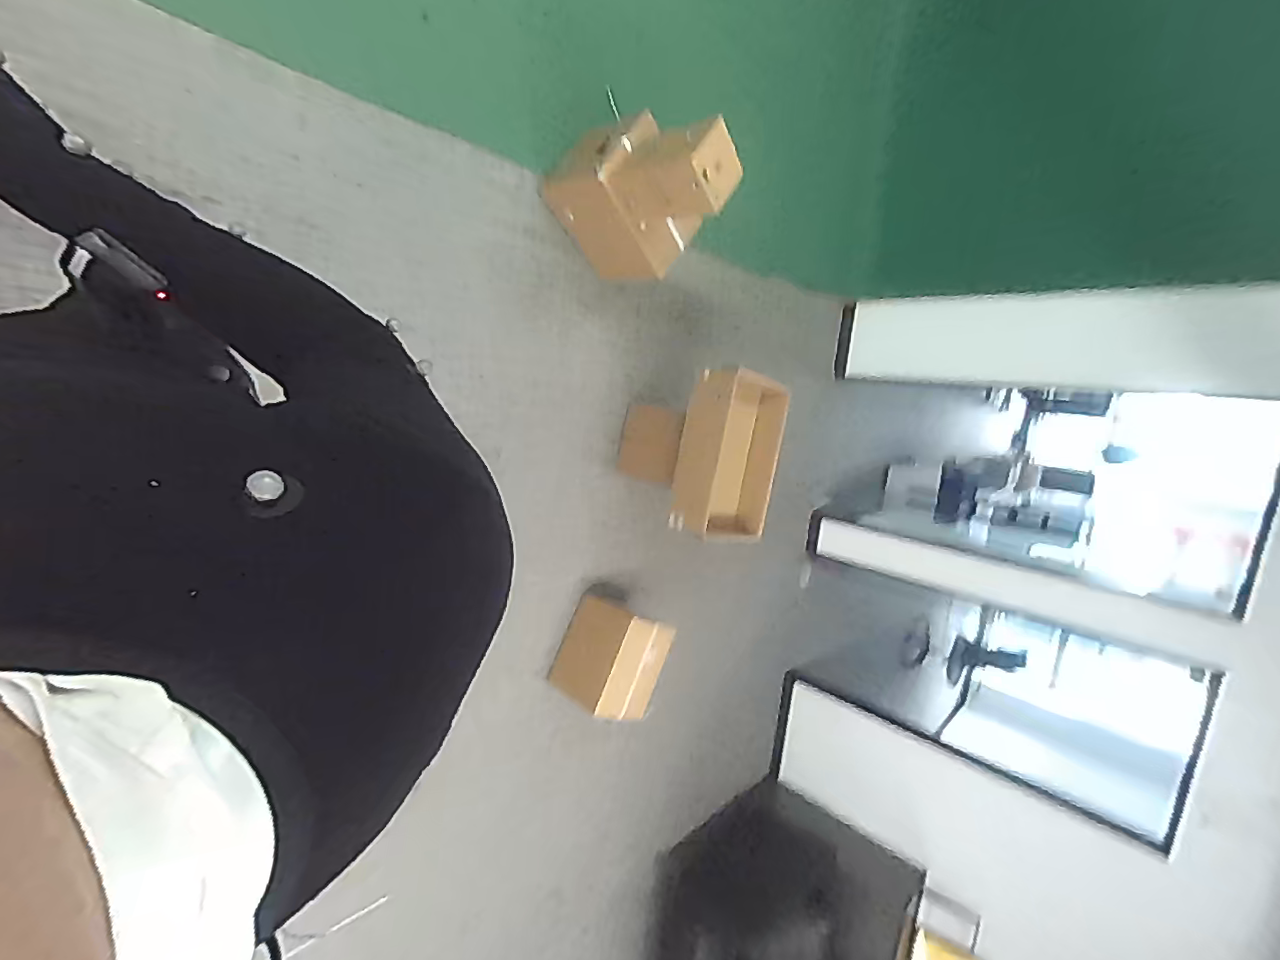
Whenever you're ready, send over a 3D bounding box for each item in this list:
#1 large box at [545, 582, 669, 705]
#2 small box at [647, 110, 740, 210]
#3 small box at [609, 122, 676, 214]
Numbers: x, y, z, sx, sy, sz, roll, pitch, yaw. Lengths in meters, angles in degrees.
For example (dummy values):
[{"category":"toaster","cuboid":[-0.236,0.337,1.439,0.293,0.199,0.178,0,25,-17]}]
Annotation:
[{"category":"large box","cuboid":[-0.140,0.698,2.309,0.320,0.320,0.408,31,78,-47]},{"category":"small box","cuboid":[0.149,-0.892,1.522,0.168,0.176,0.179,46,68,-44]},{"category":"small box","cuboid":[0.037,-0.936,1.634,0.179,0.176,0.168,-58,136,-15]}]
